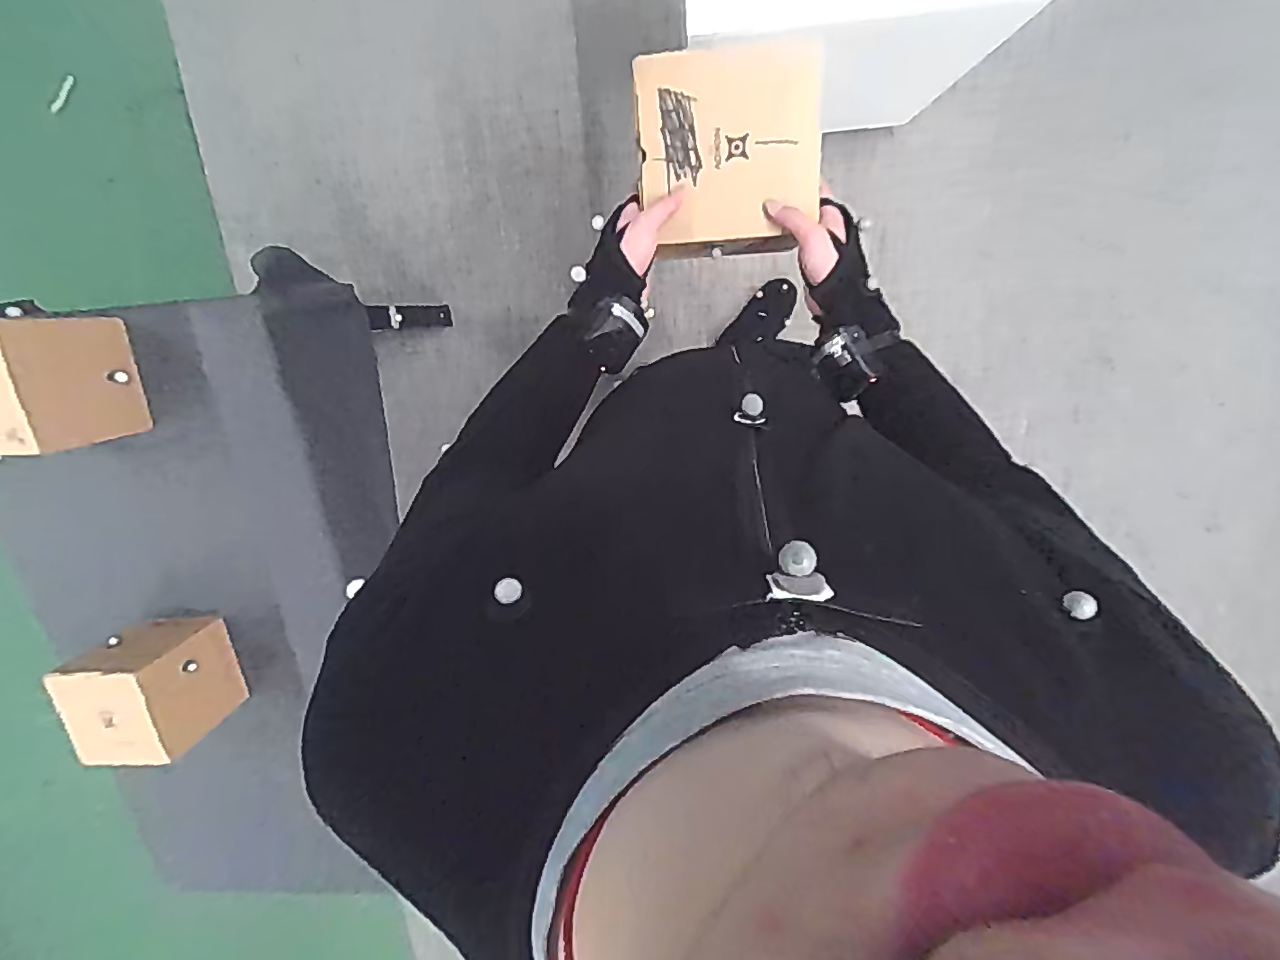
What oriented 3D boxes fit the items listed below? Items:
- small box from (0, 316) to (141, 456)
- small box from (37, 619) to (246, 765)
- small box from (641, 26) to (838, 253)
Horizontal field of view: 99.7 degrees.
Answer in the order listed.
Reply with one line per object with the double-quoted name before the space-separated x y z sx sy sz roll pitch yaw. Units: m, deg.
"small box" -0.868 -0.139 0.756 0.168 0.176 0.179 0 108 3
"small box" -0.828 0.351 0.920 0.168 0.176 0.179 -4 109 6
"small box" 0.098 -0.343 0.581 0.179 0.176 0.168 -2 108 5
